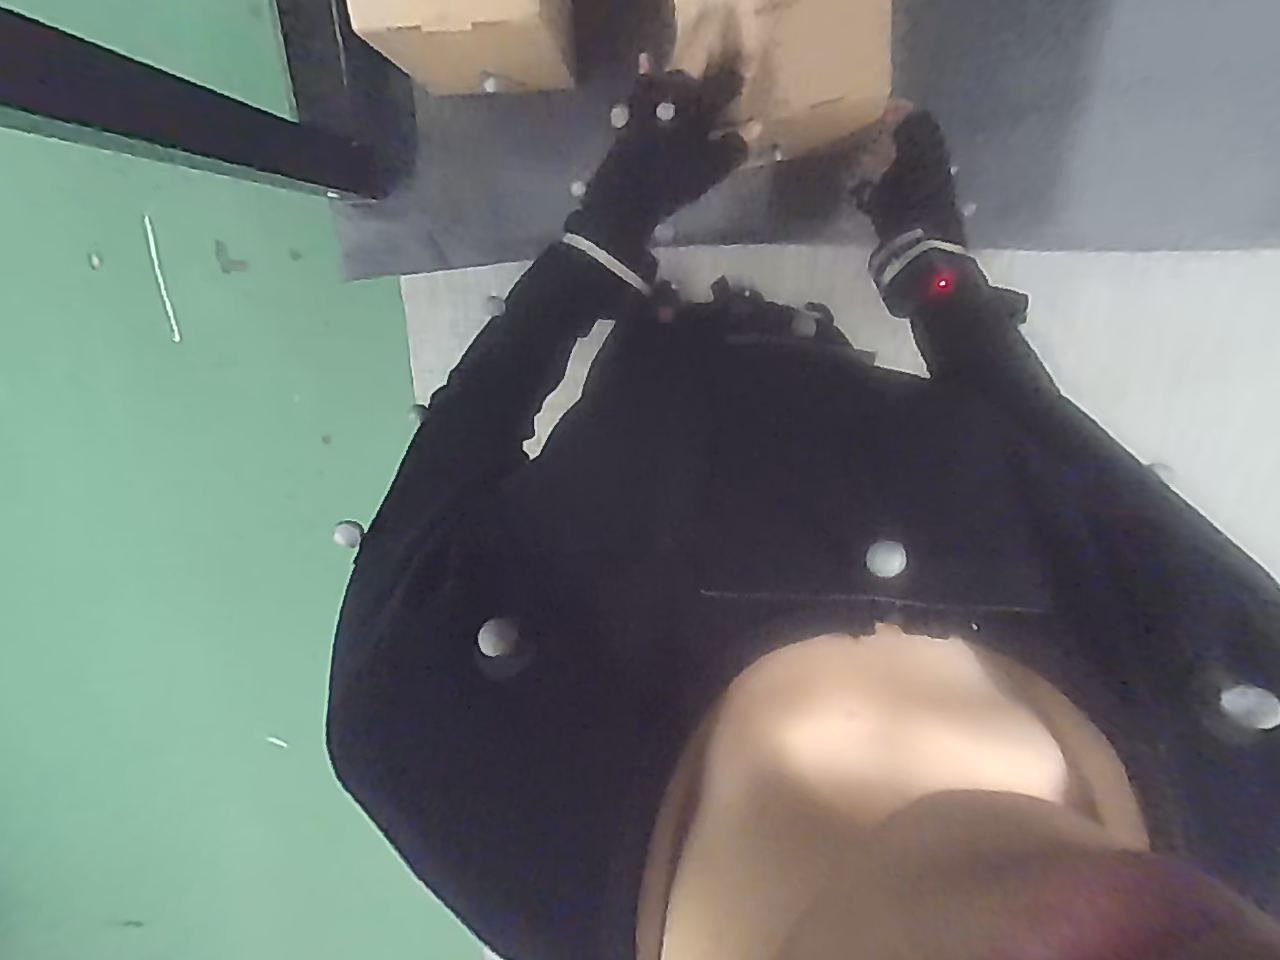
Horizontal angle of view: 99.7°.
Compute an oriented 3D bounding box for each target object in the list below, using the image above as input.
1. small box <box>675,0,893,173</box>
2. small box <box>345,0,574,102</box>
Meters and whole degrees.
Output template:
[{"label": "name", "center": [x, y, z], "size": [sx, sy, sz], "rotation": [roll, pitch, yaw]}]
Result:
[{"label": "small box", "center": [0.130, -0.404, 0.490], "size": [0.168, 0.176, 0.179], "rotation": [-1, 108, 19]}, {"label": "small box", "center": [-0.160, -0.483, 0.502], "size": [0.168, 0.176, 0.179], "rotation": [0, 109, 5]}]
